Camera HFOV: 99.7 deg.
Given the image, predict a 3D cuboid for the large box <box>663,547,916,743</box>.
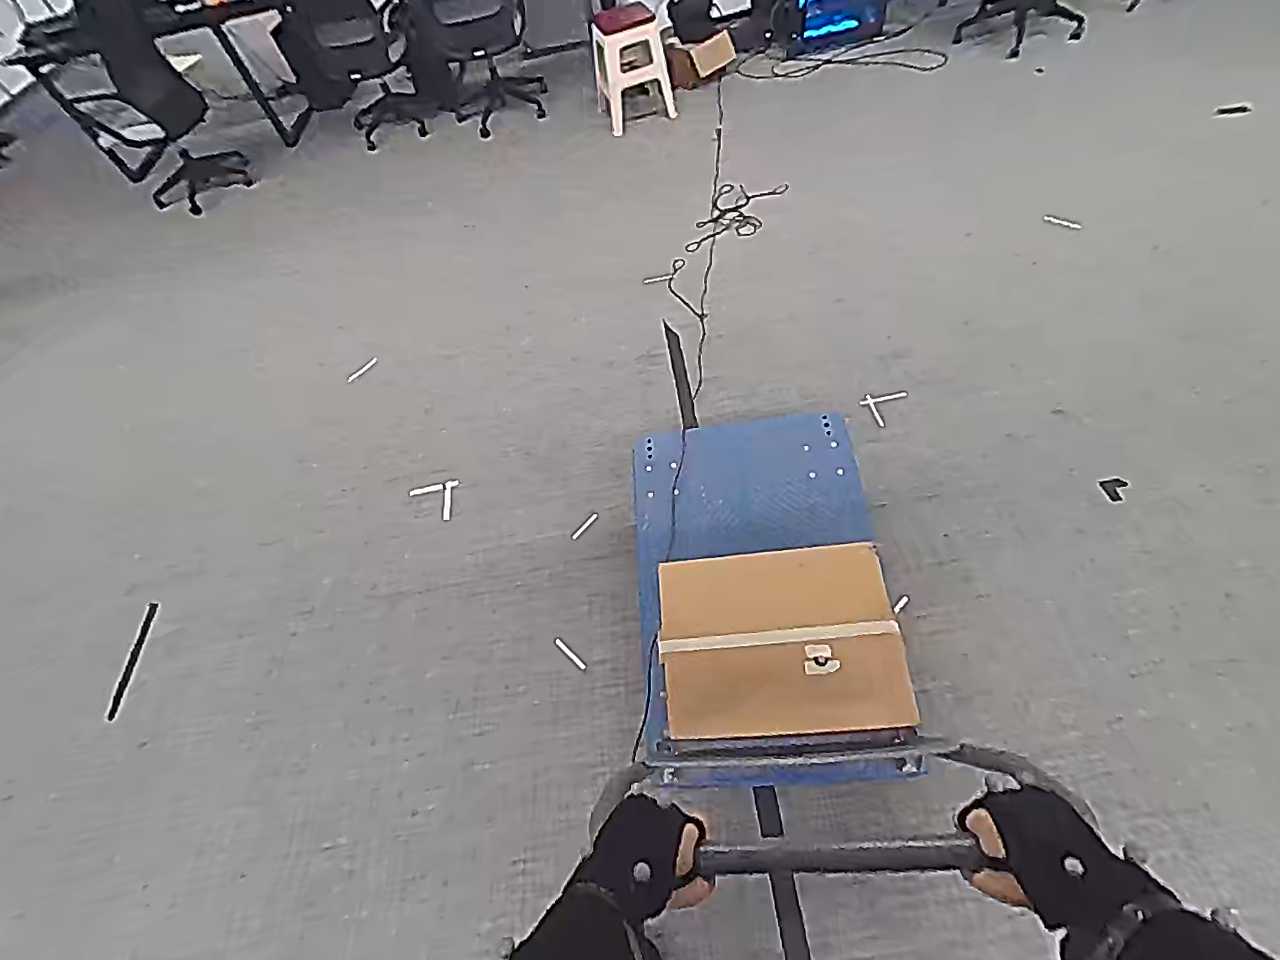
[{"bbox_3d":[0.271,0.351,1.098,0.408,0.320,0.320,-7,64,7],"label":"large box"}]
